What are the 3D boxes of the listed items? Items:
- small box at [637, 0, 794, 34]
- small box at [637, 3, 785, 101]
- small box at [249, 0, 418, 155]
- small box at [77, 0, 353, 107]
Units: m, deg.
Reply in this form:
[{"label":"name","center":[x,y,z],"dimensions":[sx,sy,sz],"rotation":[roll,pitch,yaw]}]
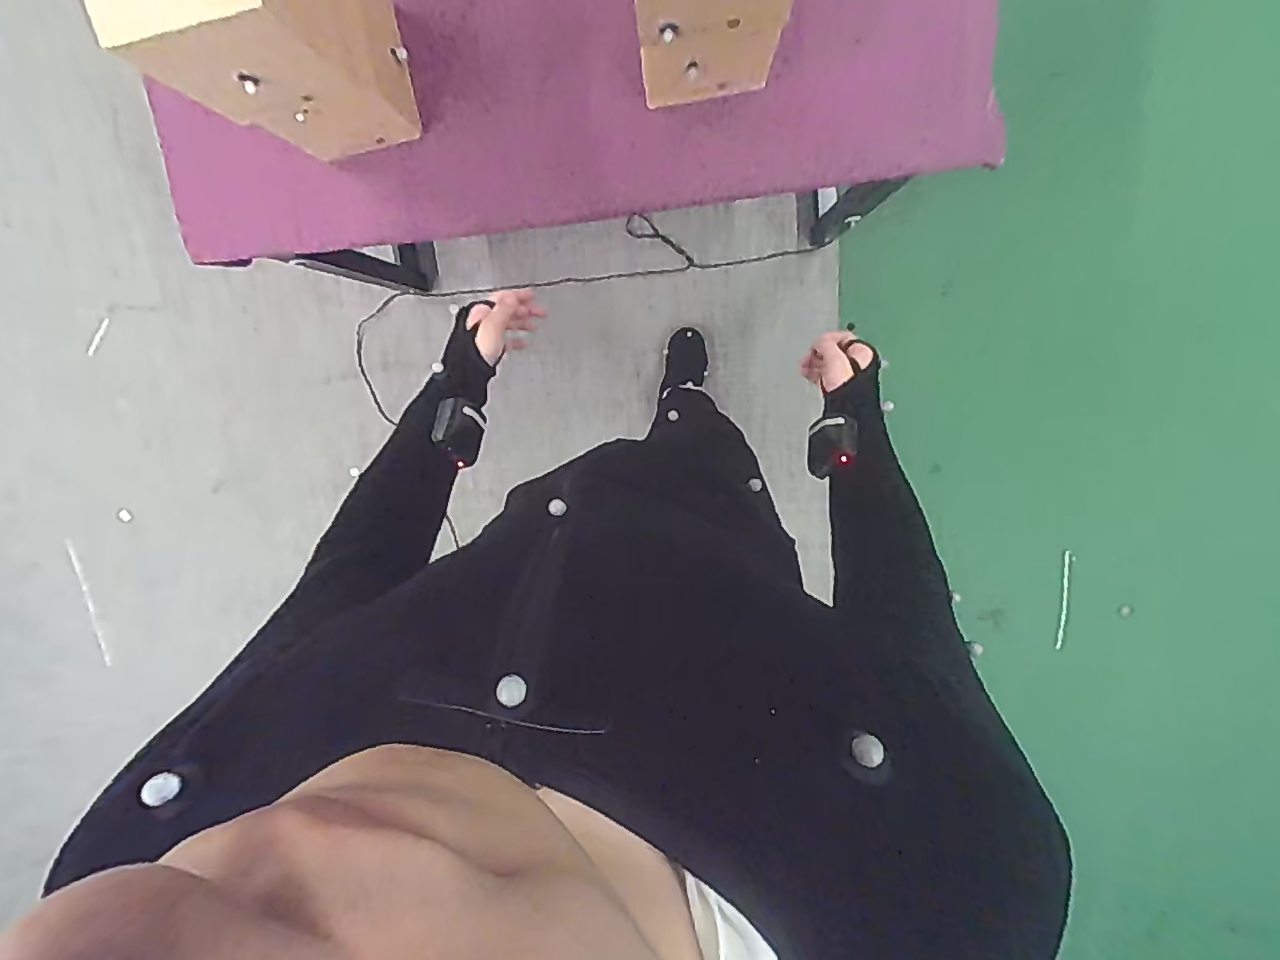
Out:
[{"label":"small box","center":[0.071,-0.556,0.499],"dimensions":[0.168,0.176,0.179],"rotation":[-4,100,5]},{"label":"small box","center":[0.079,-0.596,0.658],"dimensions":[0.168,0.176,0.179],"rotation":[-6,100,5]},{"label":"small box","center":[-0.416,-0.557,0.696],"dimensions":[0.168,0.176,0.179],"rotation":[-10,101,6]},{"label":"small box","center":[-0.421,-0.506,0.538],"dimensions":[0.168,0.176,0.179],"rotation":[-9,102,4]}]
